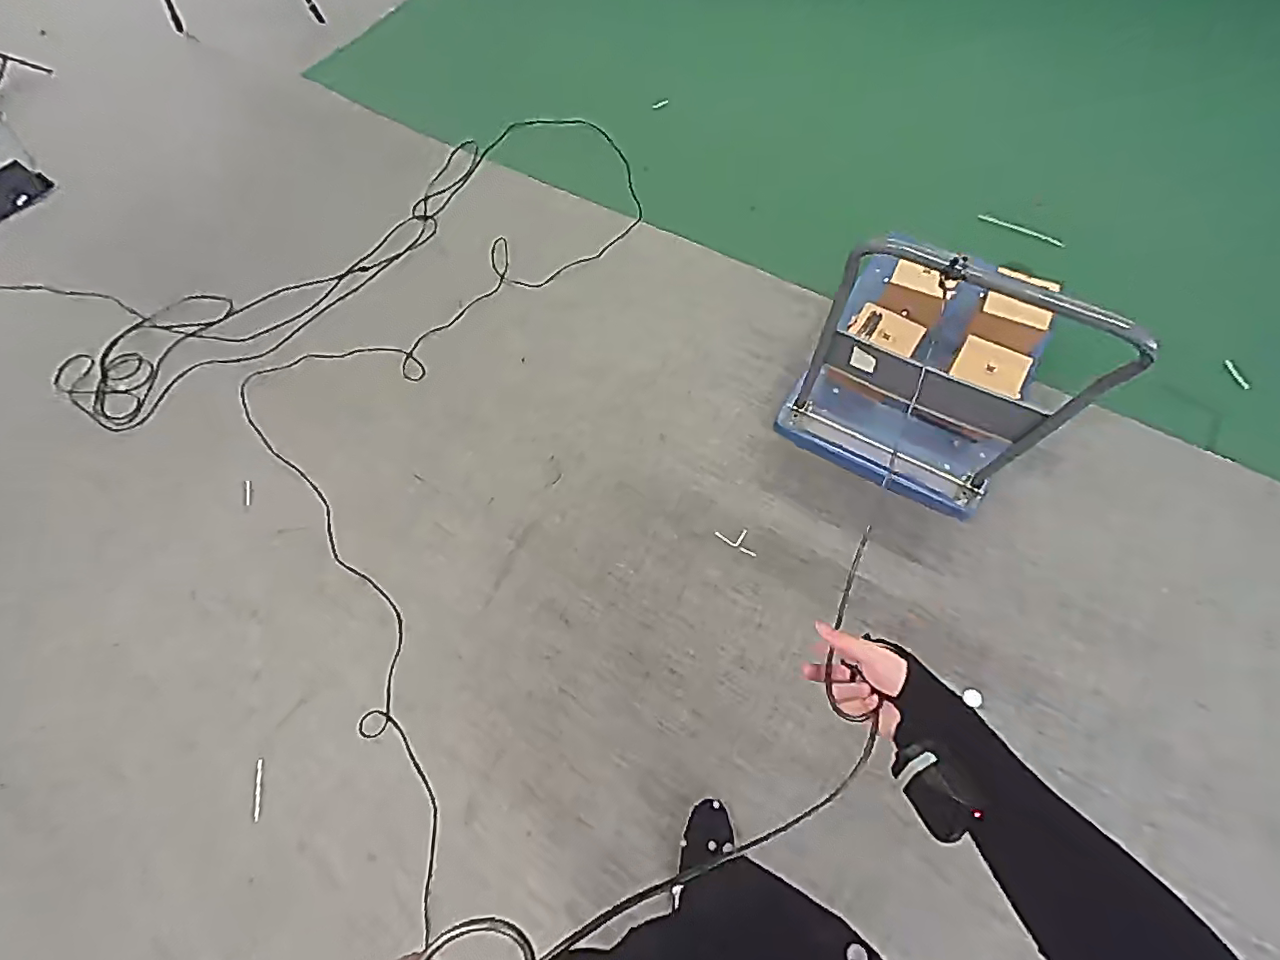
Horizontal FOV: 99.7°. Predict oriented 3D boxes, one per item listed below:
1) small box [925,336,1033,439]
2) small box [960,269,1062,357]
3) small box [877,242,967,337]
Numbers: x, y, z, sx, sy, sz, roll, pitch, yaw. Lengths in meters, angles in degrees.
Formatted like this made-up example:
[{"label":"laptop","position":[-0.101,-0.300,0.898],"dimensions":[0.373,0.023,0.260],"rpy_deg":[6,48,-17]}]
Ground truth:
[{"label":"small box","position":[0.901,-0.244,1.454],"dimensions":[0.168,0.176,0.179],"rpy_deg":[30,72,16]},{"label":"small box","position":[1.047,-0.456,1.539],"dimensions":[0.168,0.176,0.179],"rpy_deg":[25,71,15]},{"label":"small box","position":[0.826,-0.559,1.603],"dimensions":[0.168,0.176,0.179],"rpy_deg":[26,70,14]}]
